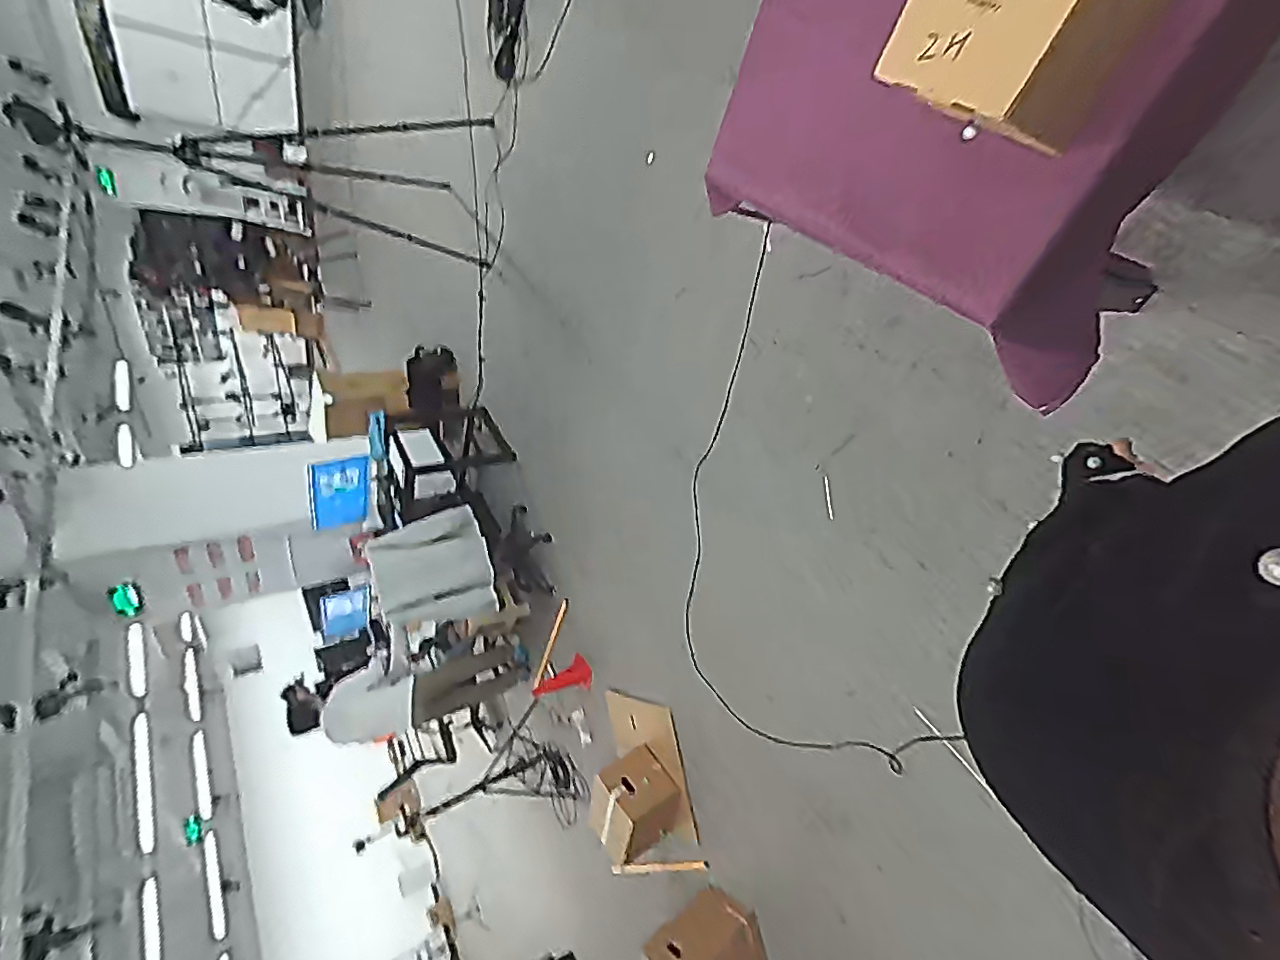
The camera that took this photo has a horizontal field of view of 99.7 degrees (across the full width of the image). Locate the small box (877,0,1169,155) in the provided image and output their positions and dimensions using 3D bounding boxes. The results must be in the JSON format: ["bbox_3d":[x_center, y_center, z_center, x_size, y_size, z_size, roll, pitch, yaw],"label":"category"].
[{"bbox_3d":[0.397,-0.471,0.561,0.168,0.176,0.179,53,137,33],"label":"small box"}]
